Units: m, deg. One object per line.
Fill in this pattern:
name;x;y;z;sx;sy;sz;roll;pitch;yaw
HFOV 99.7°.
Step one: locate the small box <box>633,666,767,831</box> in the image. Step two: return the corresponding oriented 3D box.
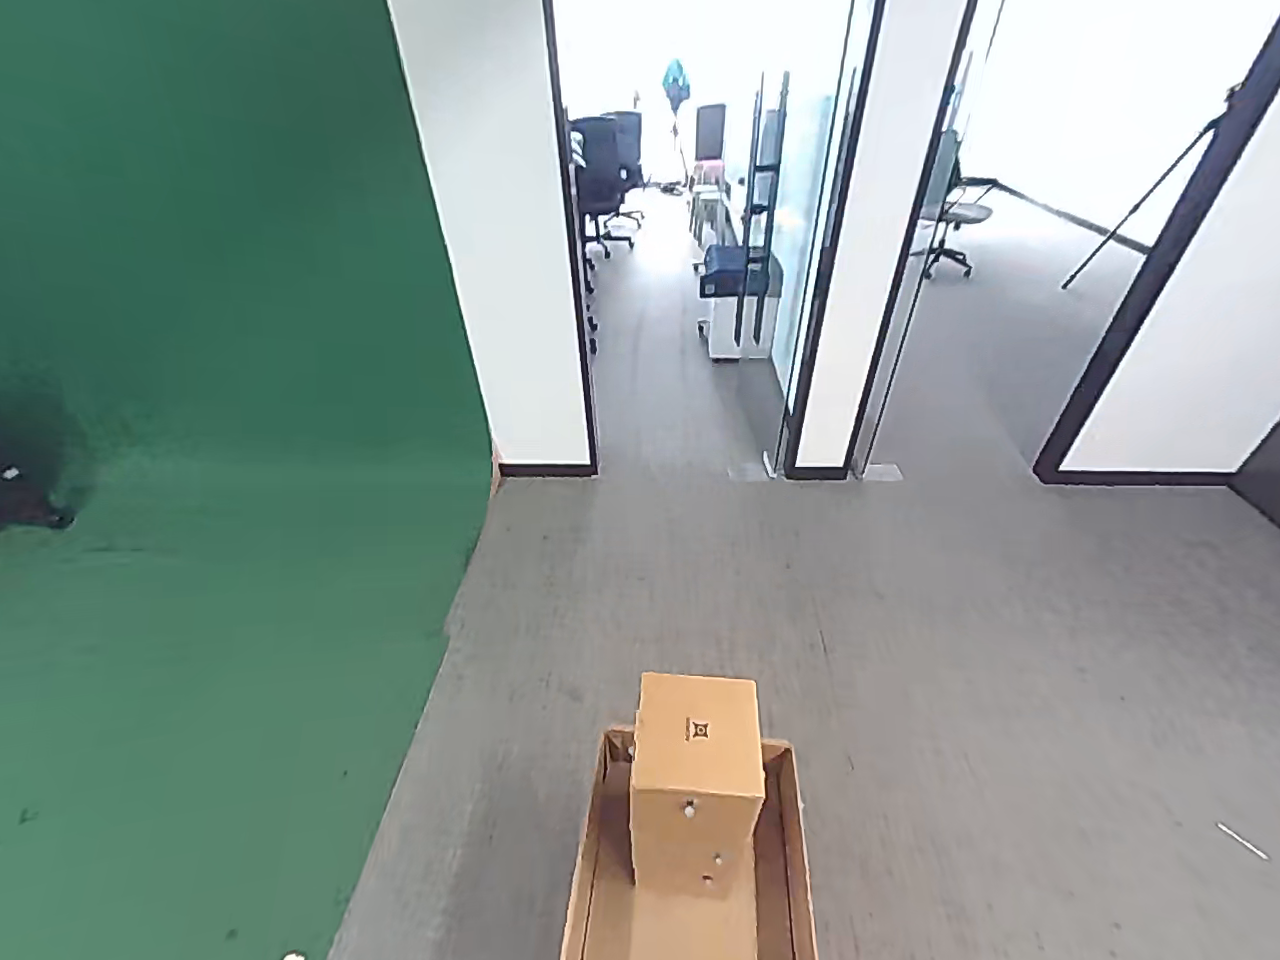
small box;0.084;0.402;0.808;0.179;0.176;0.168;3;40;4
